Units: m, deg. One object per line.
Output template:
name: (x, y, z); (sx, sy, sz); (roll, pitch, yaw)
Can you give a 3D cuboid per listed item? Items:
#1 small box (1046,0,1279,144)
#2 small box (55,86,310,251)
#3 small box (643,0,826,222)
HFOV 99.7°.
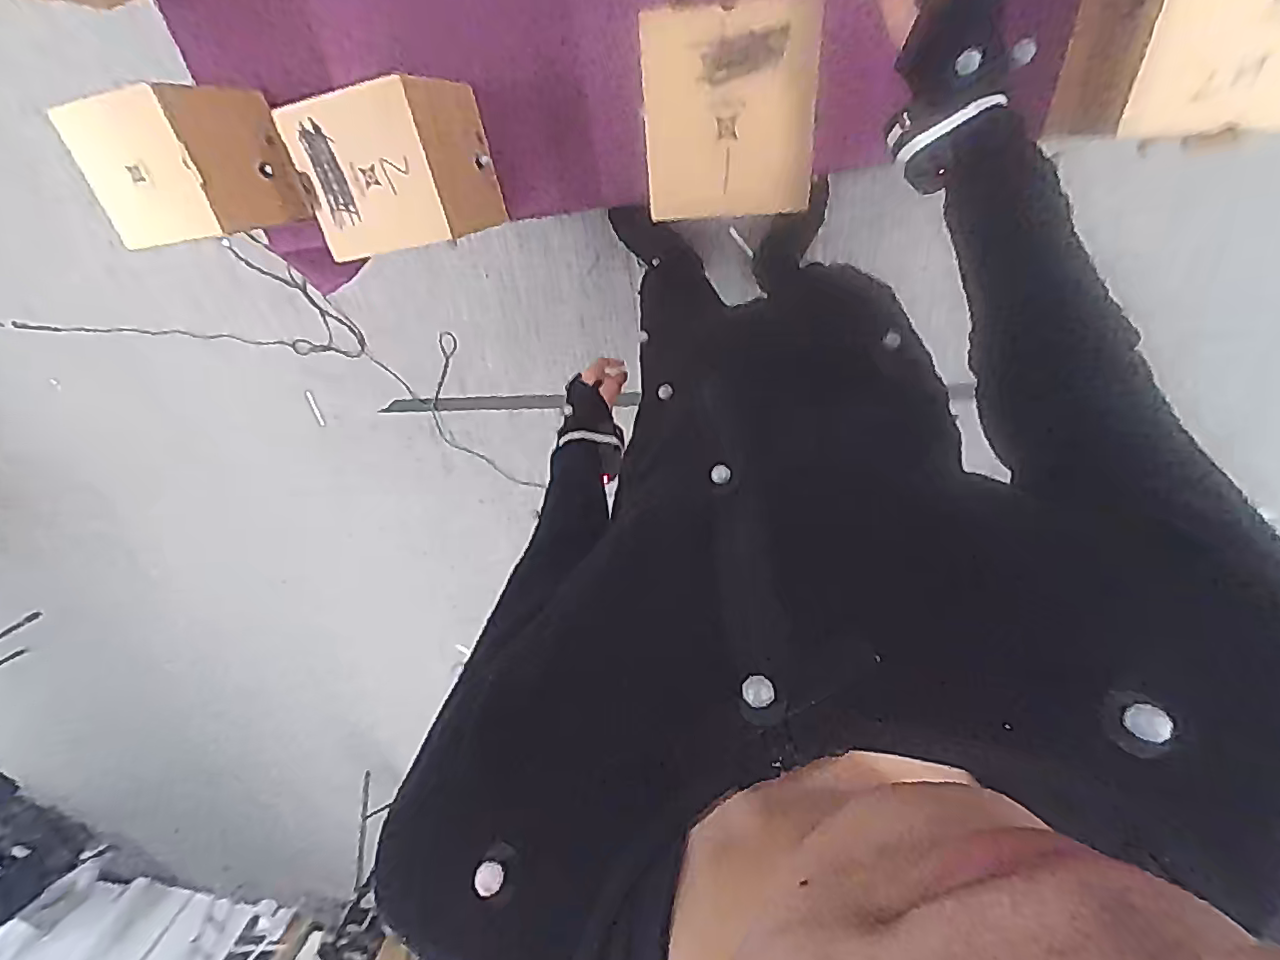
small box: (0.503, -0.402, 0.476); (0.168, 0.176, 0.179); (6, 123, 12)
small box: (-0.615, -0.427, 0.753); (0.179, 0.176, 0.168); (-2, 121, 14)
small box: (0.103, -0.390, 0.590); (0.168, 0.176, 0.179); (3, 123, 13)
